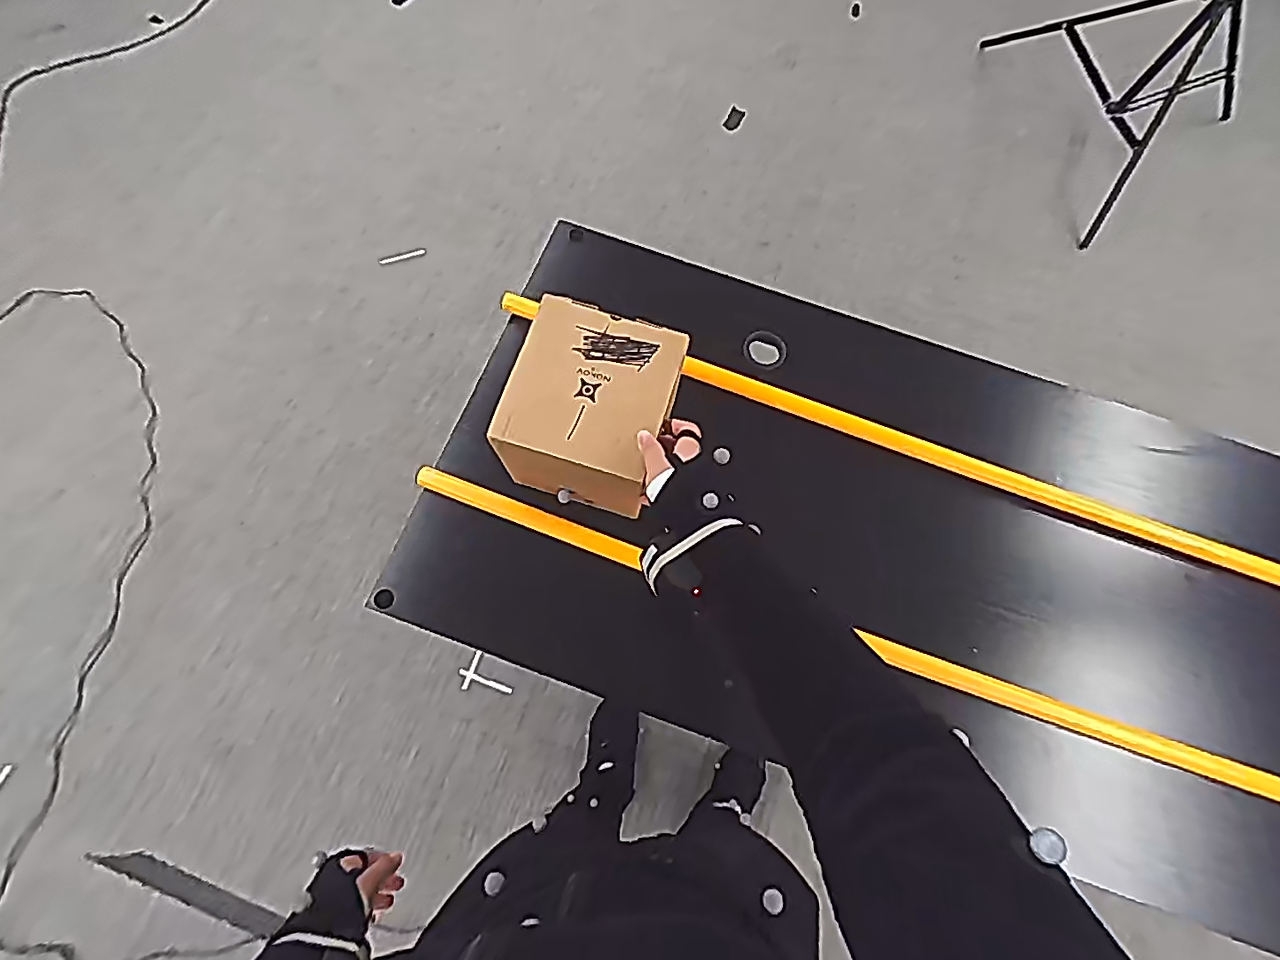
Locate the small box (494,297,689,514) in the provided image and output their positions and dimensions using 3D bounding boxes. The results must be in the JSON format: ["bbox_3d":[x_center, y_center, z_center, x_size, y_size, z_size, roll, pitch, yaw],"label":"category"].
[{"bbox_3d":[-0.052,-0.077,0.642,0.168,0.176,0.179,17,74,3],"label":"small box"}]
